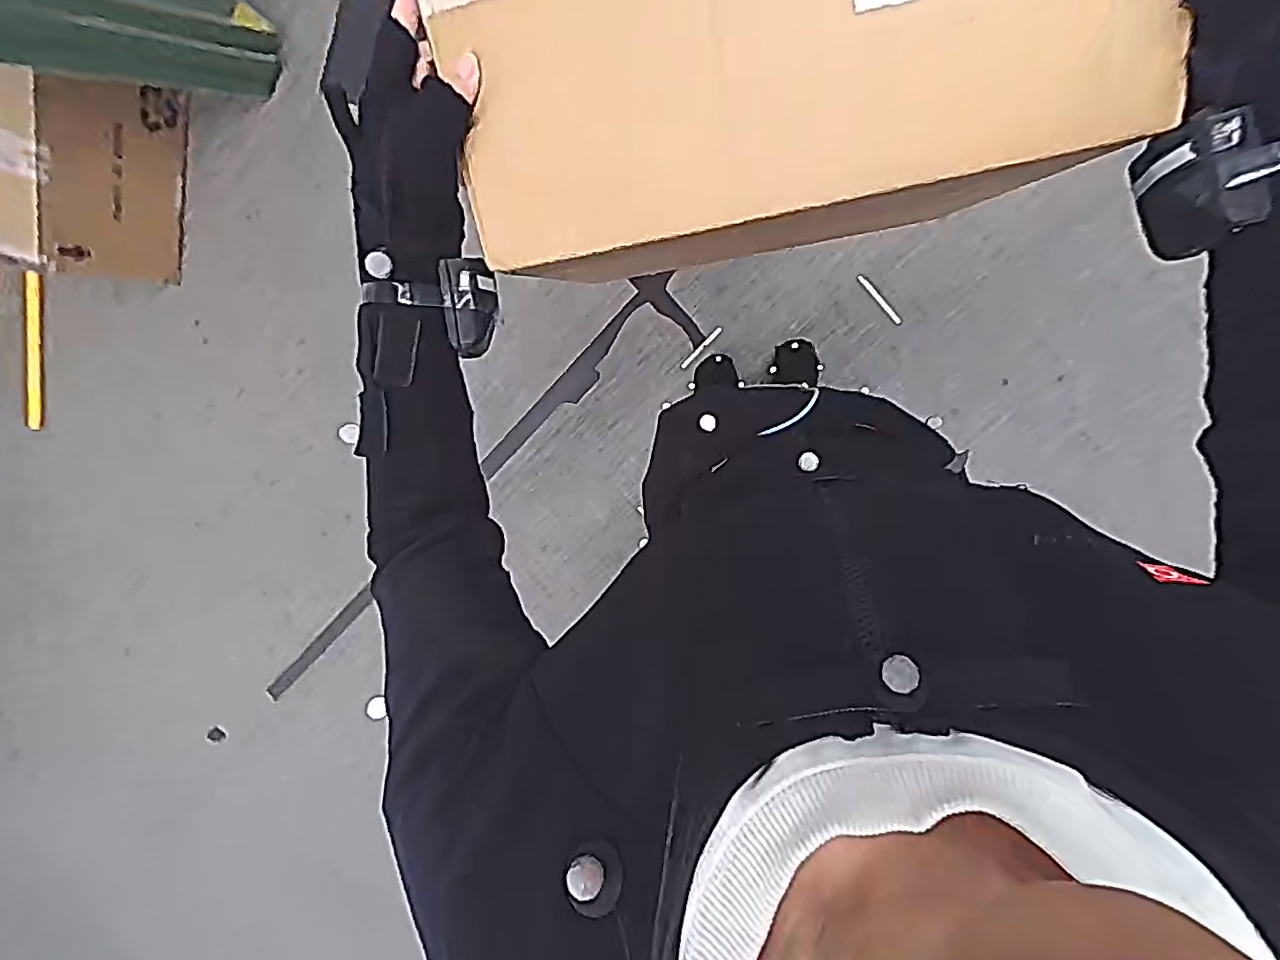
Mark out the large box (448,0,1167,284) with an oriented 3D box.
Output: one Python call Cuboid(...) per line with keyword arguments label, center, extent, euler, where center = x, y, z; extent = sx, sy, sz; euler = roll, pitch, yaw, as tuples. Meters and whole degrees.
Cuboid(label="large box", center=(0.091, -0.364, 0.441), extent=(0.408, 0.320, 0.320), euler=(-7, 107, 9))
